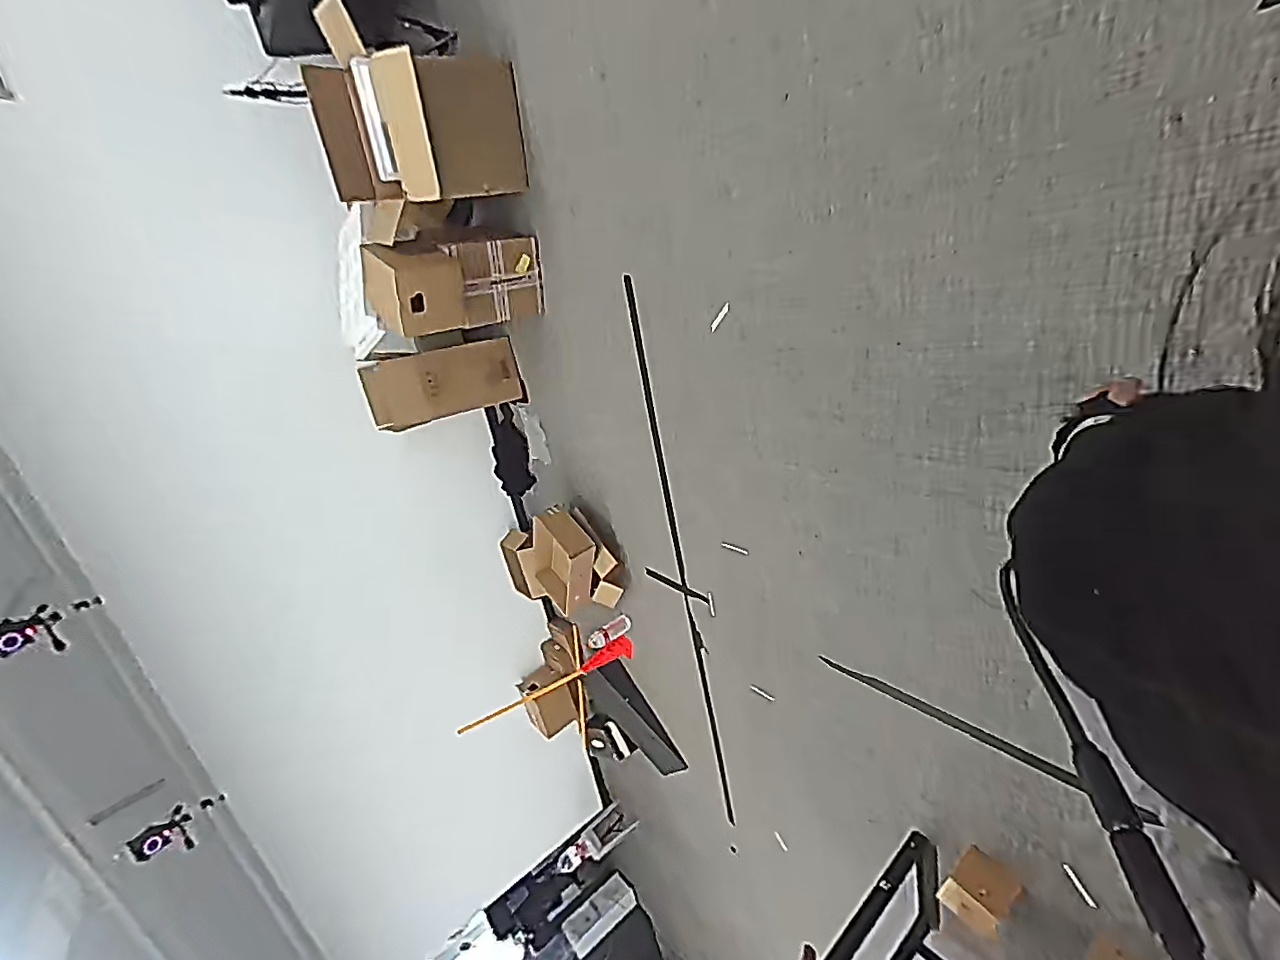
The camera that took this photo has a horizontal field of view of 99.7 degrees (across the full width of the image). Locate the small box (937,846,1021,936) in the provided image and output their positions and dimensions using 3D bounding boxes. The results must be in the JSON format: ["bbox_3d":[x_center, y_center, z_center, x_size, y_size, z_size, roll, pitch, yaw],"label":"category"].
[{"bbox_3d":[1.206,1.450,1.924,0.179,0.176,0.168,32,135,39],"label":"small box"}]
